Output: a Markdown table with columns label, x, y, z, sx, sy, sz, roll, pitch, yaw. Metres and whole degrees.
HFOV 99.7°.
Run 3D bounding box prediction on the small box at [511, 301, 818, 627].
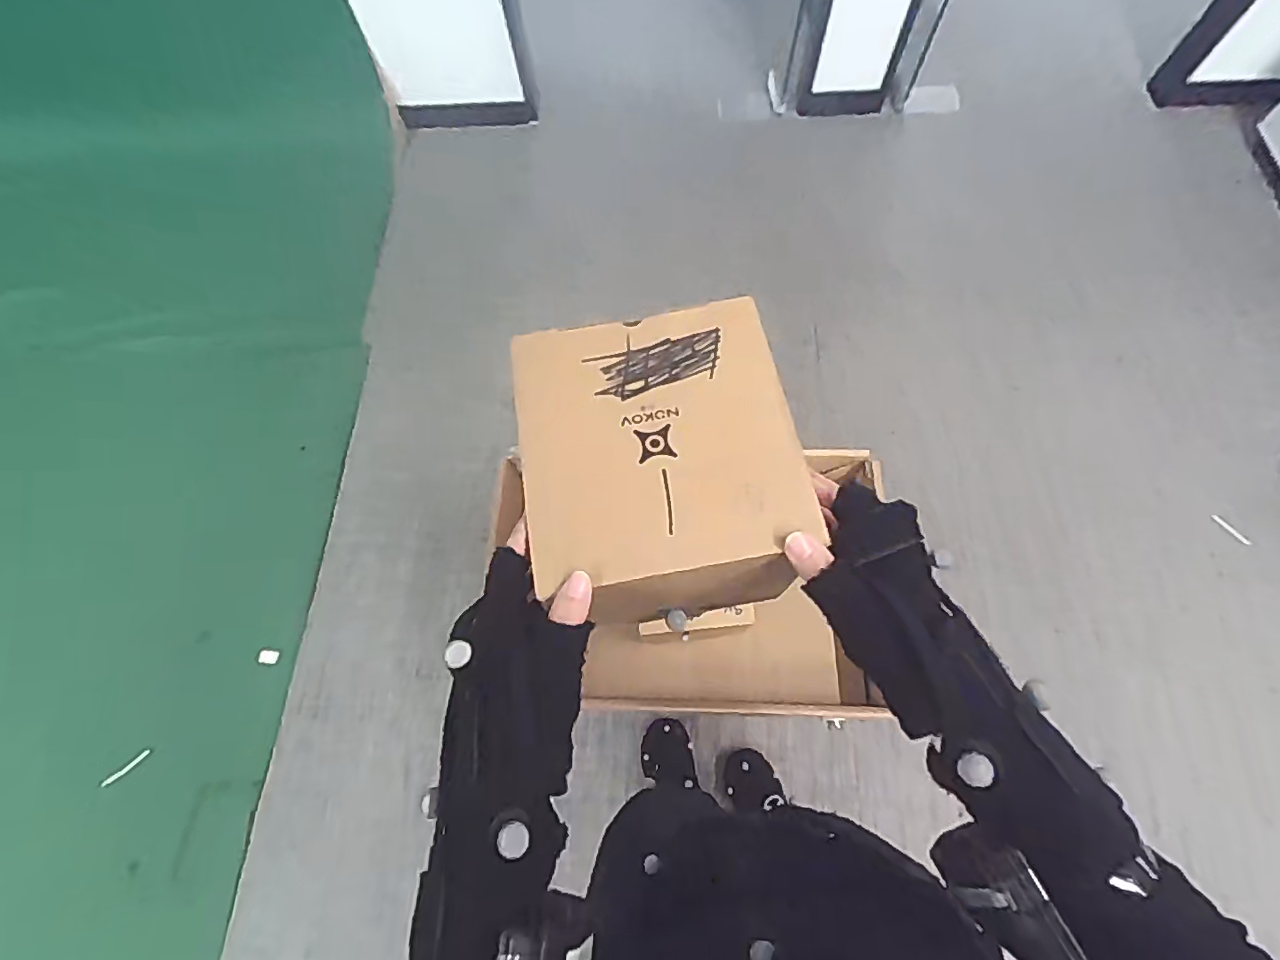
| label | x | y | z | sx | sy | sz | roll | pitch | yaw |
| --- | --- | --- | --- | --- | --- | --- | --- | --- | --- |
| small box | 0.011 | 0.000 | 0.405 | 0.168 | 0.176 | 0.179 | -11 | 68 | 0 |

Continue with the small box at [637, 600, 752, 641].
| label | x | y | z | sx | sy | sz | roll | pitch | yaw |
| --- | --- | --- | --- | --- | --- | --- | --- | --- | --- |
| small box | 0.076 | 0.155 | 0.870 | 0.168 | 0.176 | 0.179 | -6 | 68 | 2 |
